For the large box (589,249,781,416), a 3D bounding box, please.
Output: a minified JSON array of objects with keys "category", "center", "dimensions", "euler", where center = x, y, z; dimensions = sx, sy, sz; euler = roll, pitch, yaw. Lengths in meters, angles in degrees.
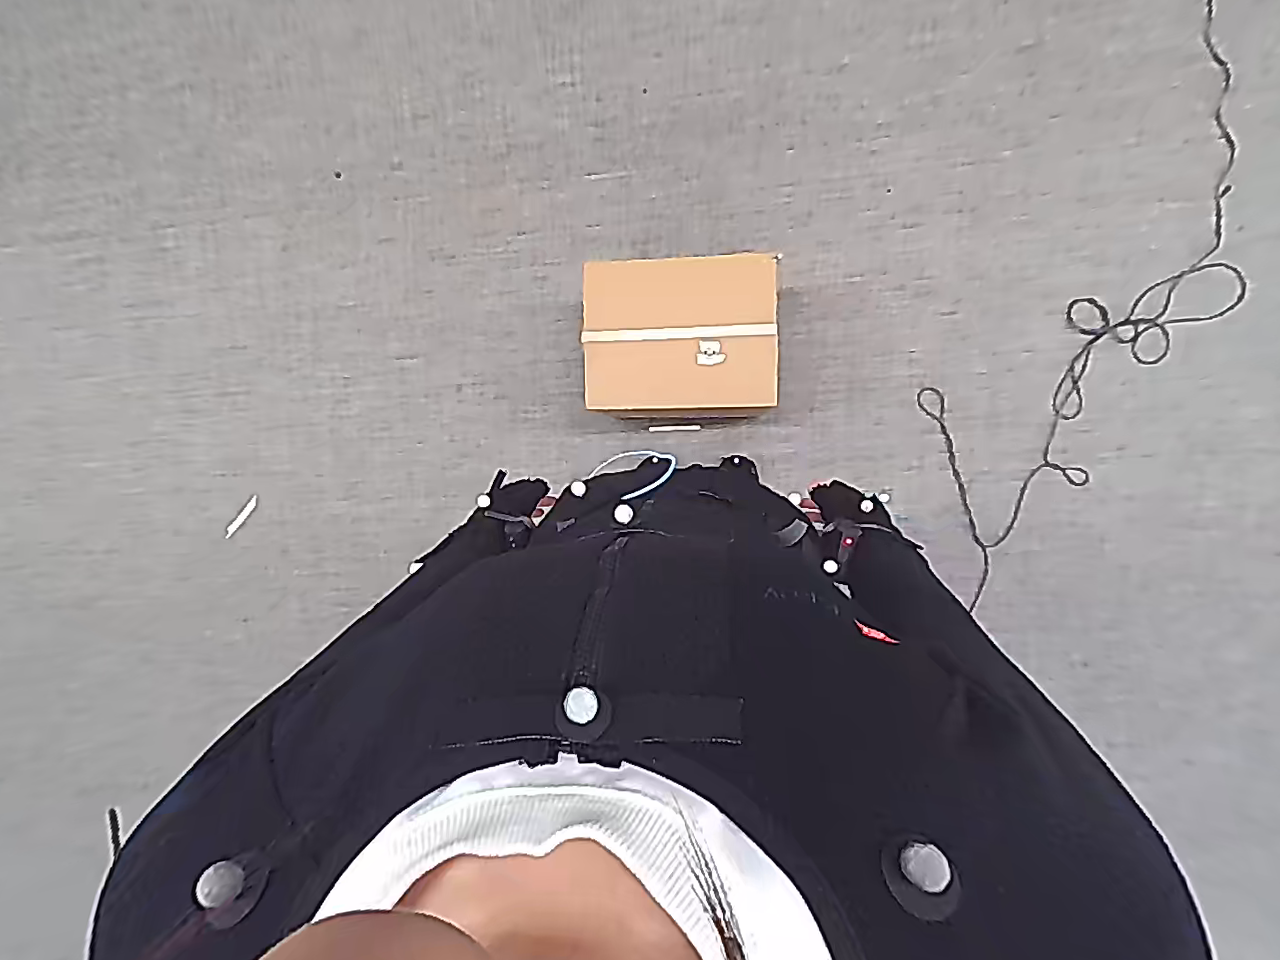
[{"category":"large box","center":[0.107,-0.322,1.278],"dimensions":[0.408,0.320,0.320],"euler":[0,93,7]}]
